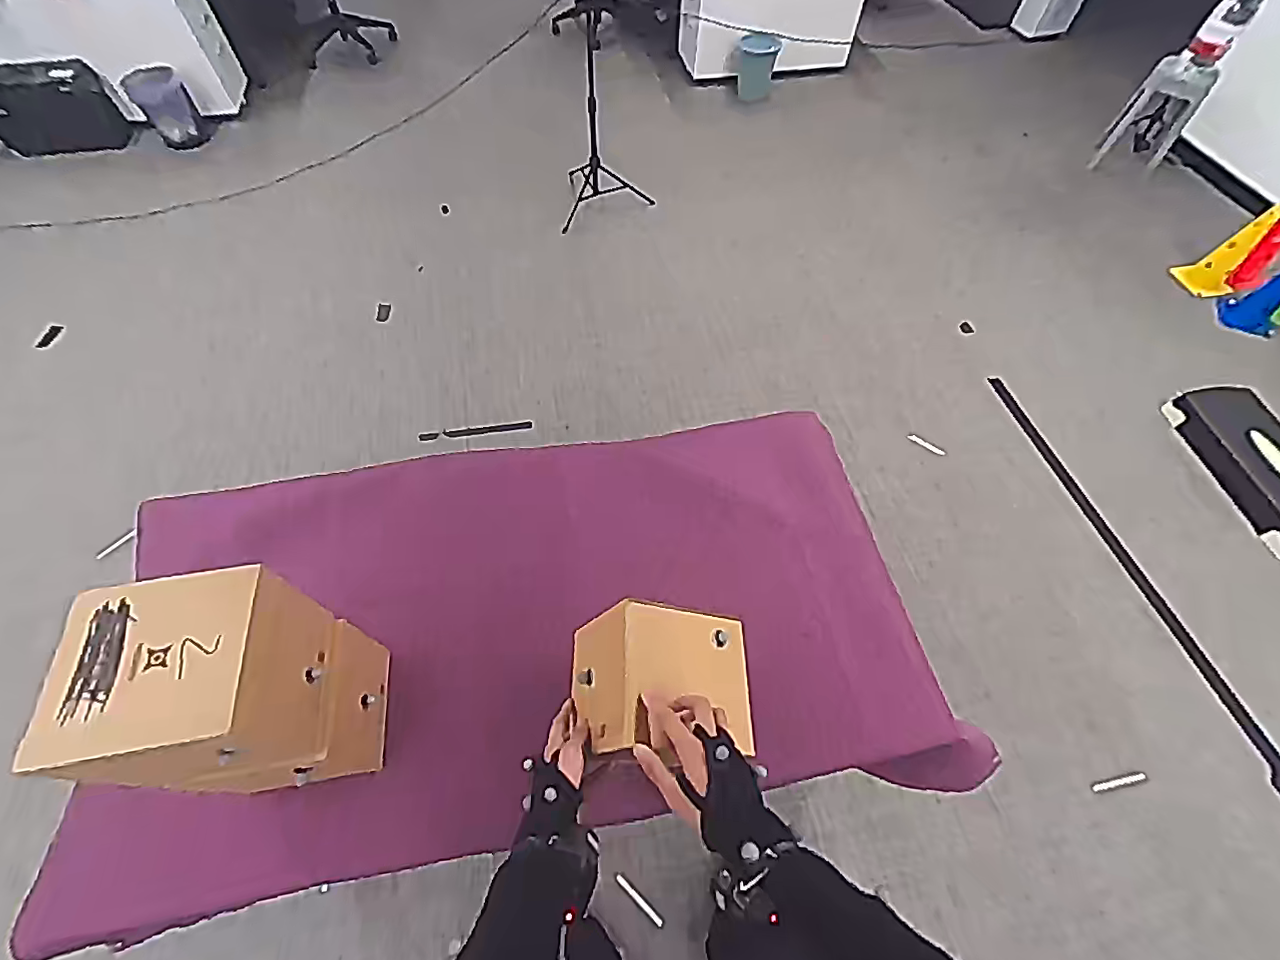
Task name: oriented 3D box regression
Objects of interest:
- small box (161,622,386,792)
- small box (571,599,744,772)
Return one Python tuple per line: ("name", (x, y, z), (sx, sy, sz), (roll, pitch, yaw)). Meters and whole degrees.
("small box", (-0.453, 0.300, 0.708), (0.179, 0.176, 0.168), (-7, 58, -6))
("small box", (0.016, 0.273, 0.700), (0.179, 0.168, 0.176), (16, 54, -23))
